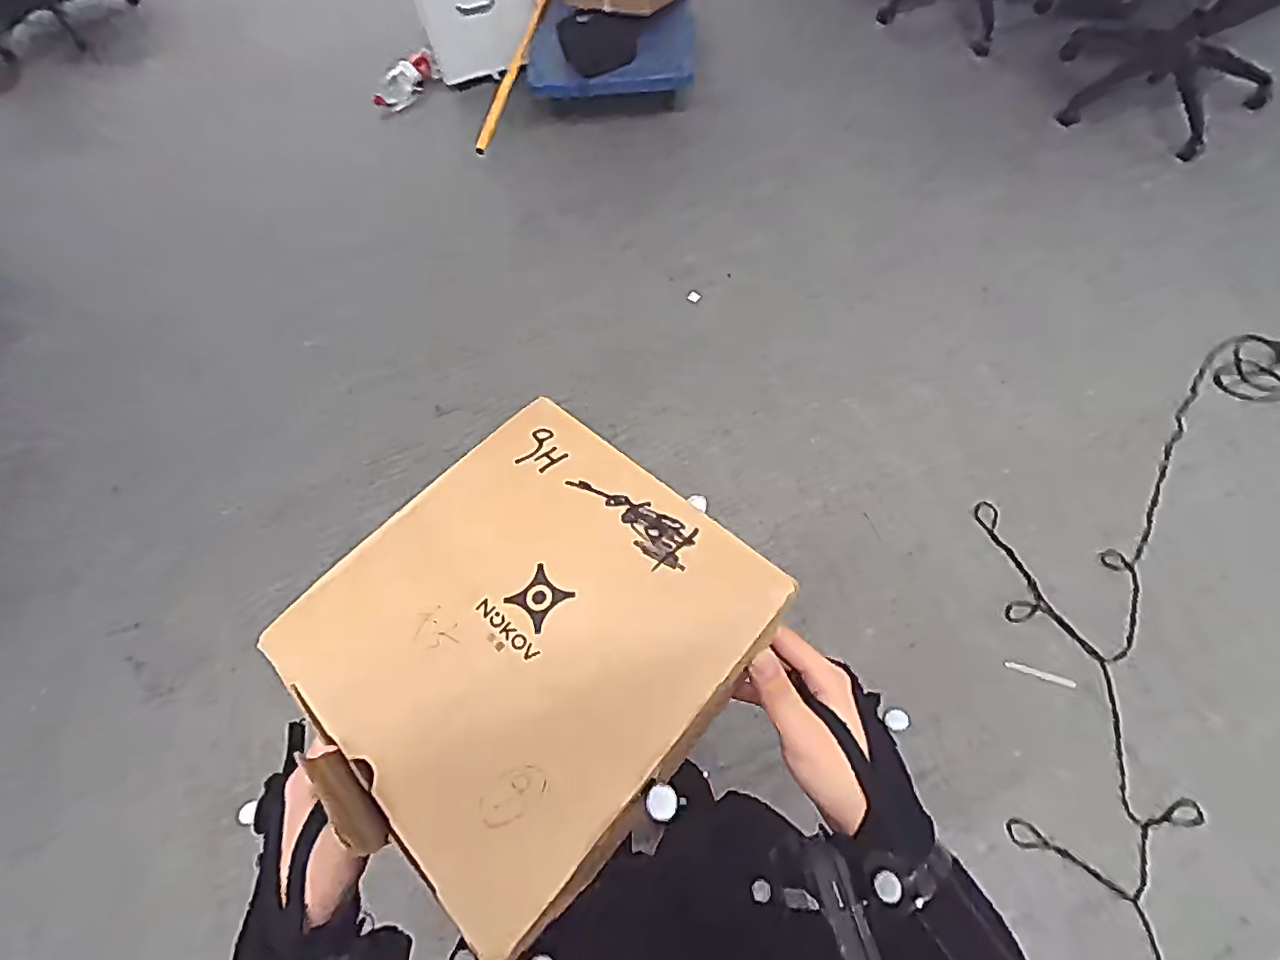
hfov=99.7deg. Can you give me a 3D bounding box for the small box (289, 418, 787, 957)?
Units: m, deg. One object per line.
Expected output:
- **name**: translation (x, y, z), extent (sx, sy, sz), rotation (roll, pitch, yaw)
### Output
- **small box**: translation (-0.040, 0.106, 0.314), extent (0.168, 0.176, 0.179), rotation (37, 70, 22)
